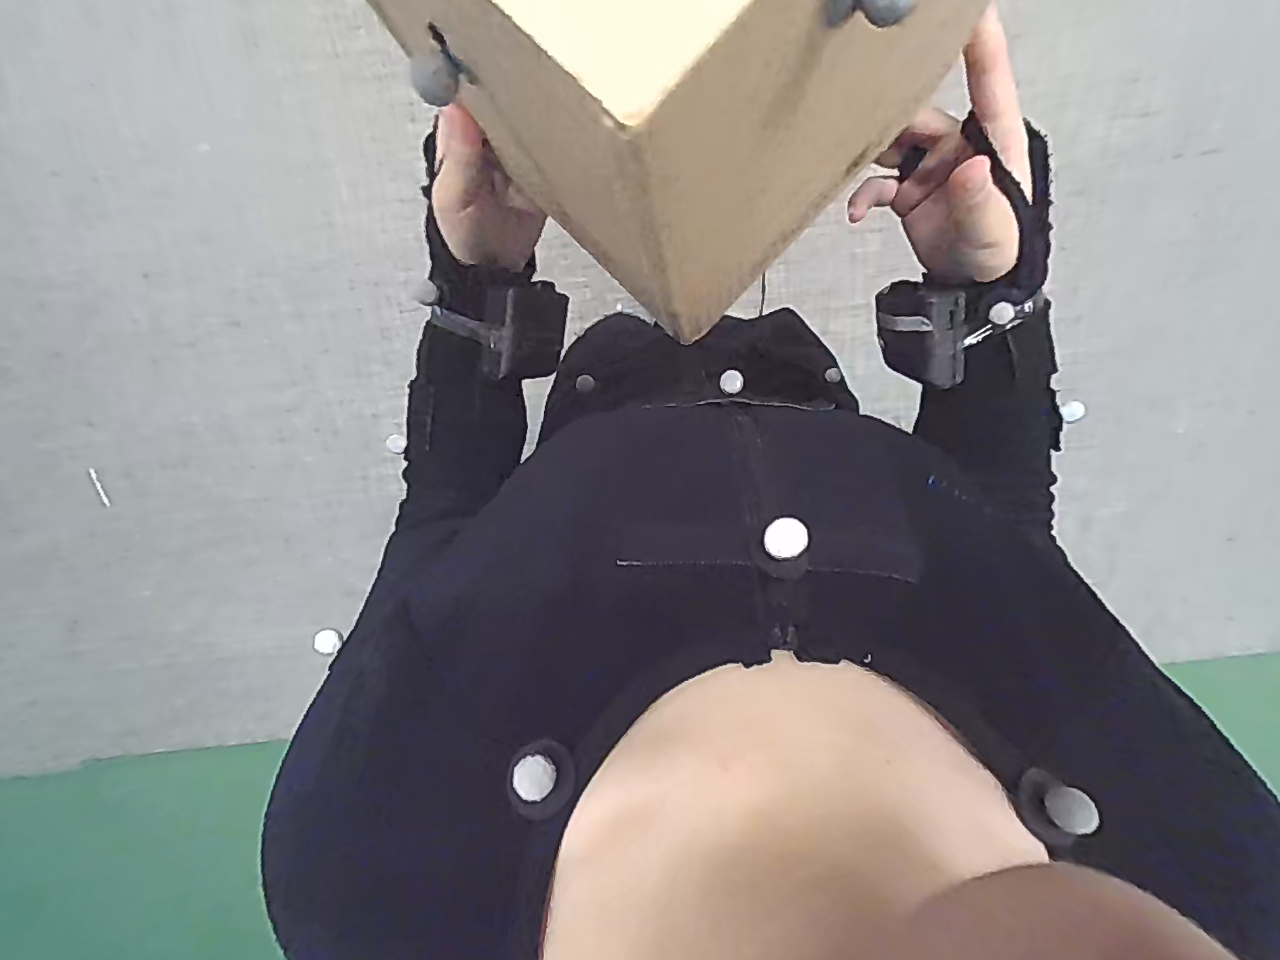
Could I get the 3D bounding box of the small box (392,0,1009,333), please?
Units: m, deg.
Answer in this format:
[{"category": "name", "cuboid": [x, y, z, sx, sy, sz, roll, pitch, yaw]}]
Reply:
[{"category": "small box", "cuboid": [0.017, -0.182, 0.193, 0.179, 0.176, 0.168, 45, 97, 7]}]
